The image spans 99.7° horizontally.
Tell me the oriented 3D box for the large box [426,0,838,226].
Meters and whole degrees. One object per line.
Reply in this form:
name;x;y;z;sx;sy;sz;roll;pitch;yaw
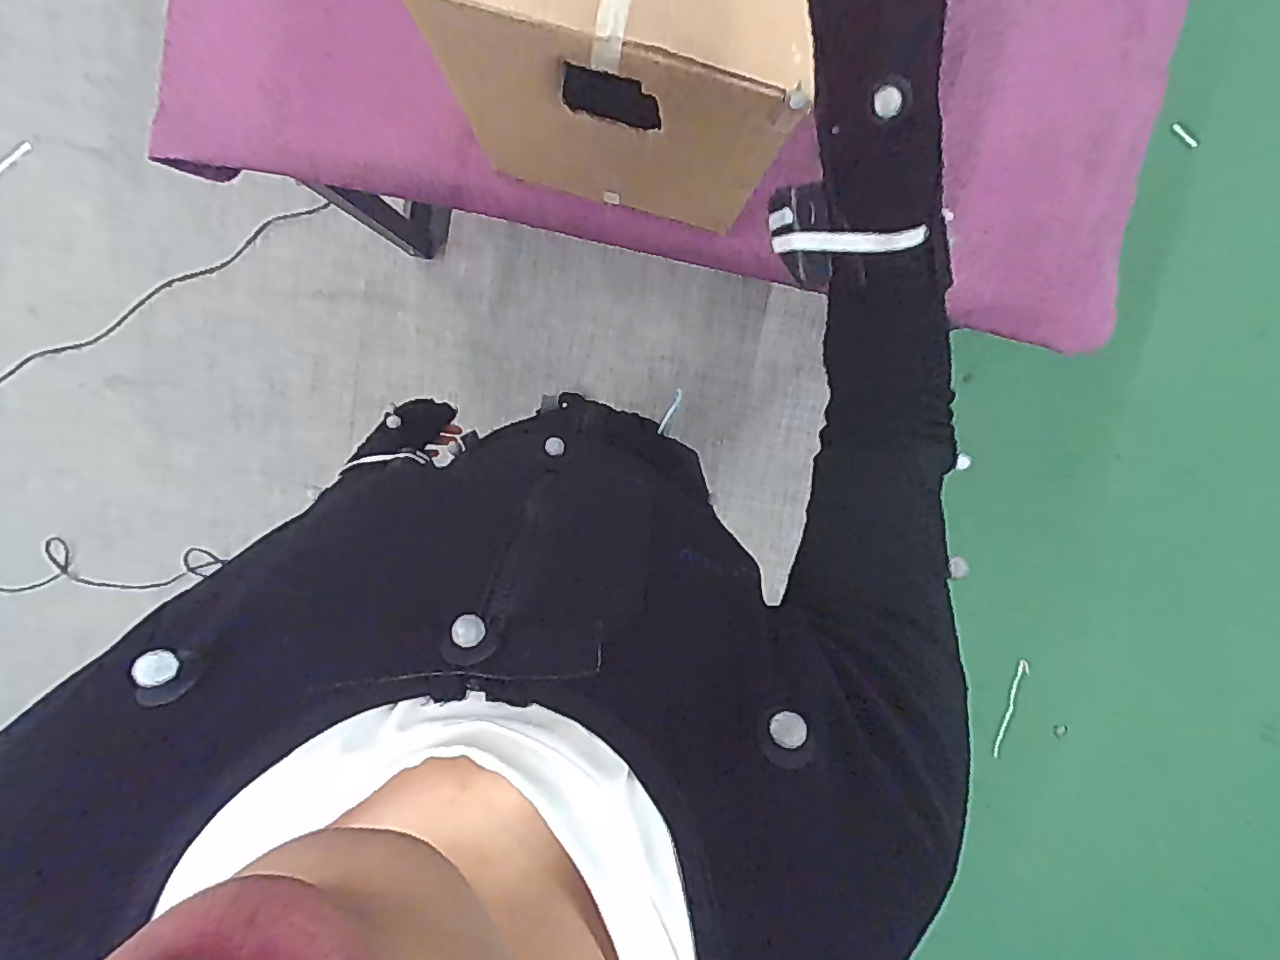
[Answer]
large box;0.022;-0.535;0.532;0.320;0.320;0.408;14;98;-4
